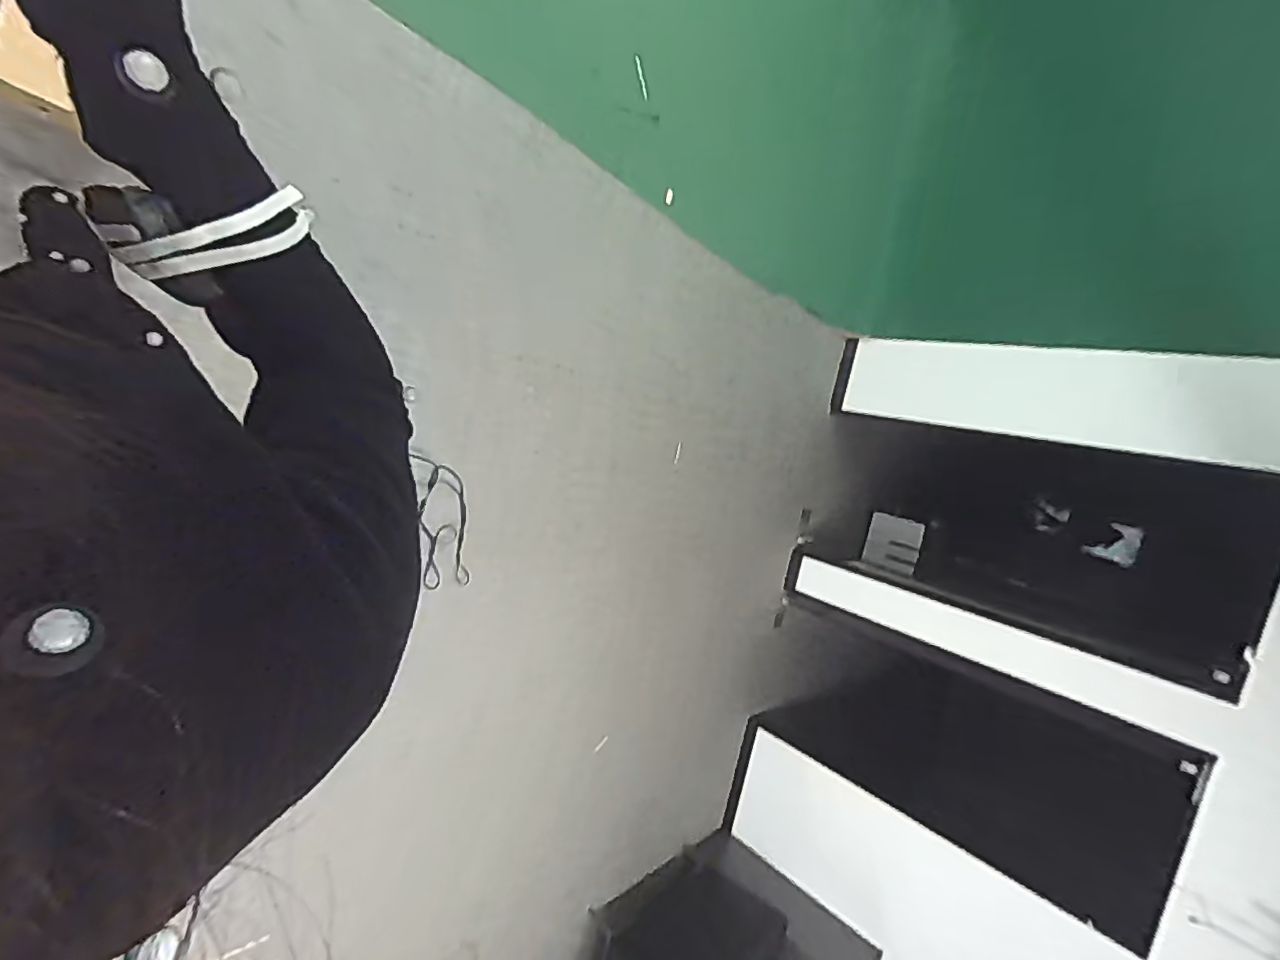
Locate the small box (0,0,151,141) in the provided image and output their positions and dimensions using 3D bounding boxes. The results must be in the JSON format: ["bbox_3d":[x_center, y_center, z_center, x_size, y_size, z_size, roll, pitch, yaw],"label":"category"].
[{"bbox_3d":[-0.956,-0.709,0.908,0.168,0.176,0.179,12,94,-49],"label":"small box"}]
